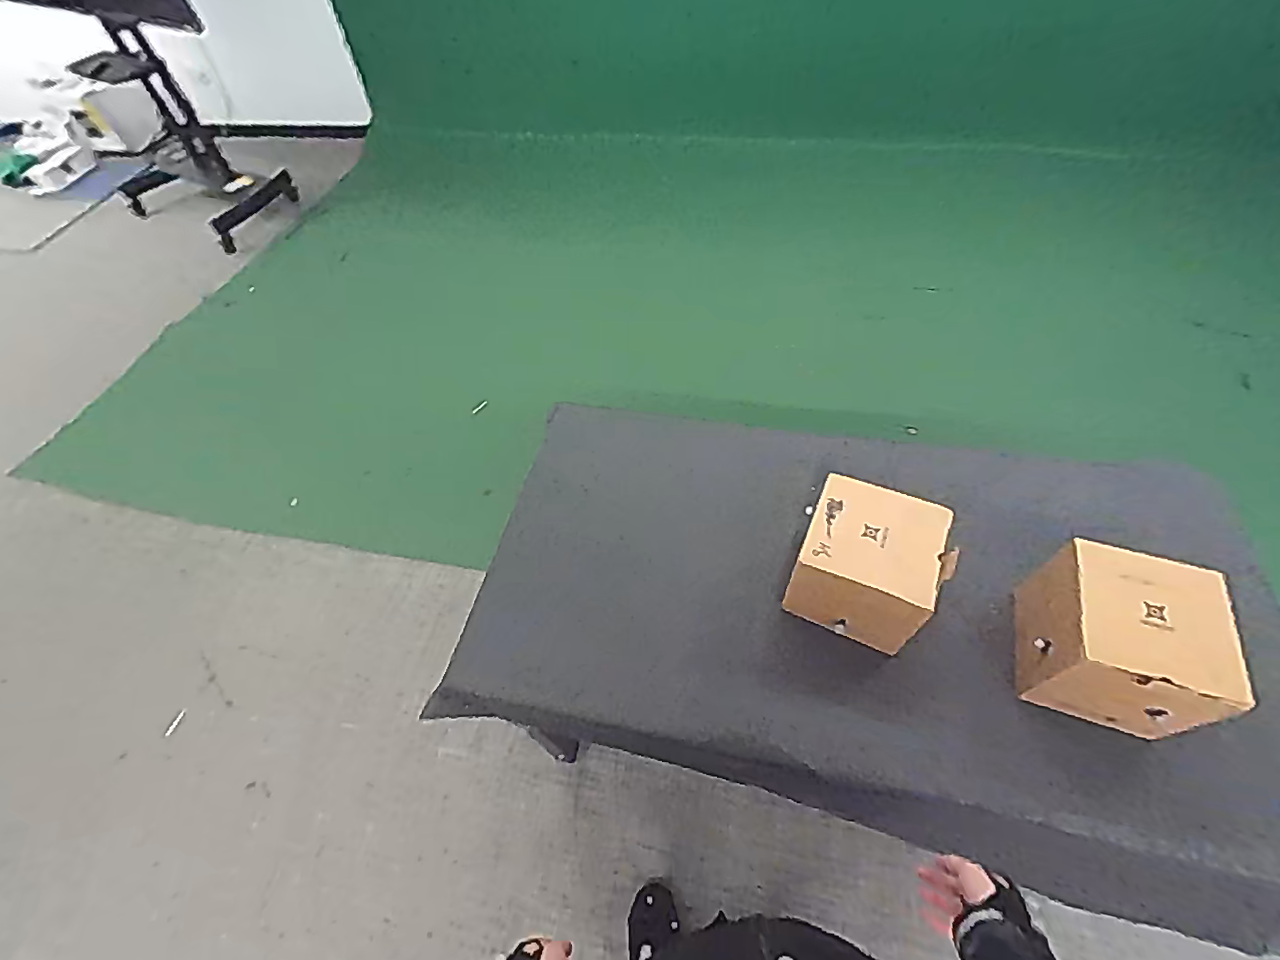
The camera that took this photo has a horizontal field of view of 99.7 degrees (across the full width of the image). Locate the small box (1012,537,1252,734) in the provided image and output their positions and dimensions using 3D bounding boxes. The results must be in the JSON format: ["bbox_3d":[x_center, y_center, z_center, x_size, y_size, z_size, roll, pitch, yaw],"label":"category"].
[{"bbox_3d":[0.623,0.209,0.715,0.168,0.176,0.179,16,55,14],"label":"small box"}]

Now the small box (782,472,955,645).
[{"bbox_3d":[0.330,0.123,0.804,0.179,0.176,0.168,21,57,18],"label":"small box"}]
